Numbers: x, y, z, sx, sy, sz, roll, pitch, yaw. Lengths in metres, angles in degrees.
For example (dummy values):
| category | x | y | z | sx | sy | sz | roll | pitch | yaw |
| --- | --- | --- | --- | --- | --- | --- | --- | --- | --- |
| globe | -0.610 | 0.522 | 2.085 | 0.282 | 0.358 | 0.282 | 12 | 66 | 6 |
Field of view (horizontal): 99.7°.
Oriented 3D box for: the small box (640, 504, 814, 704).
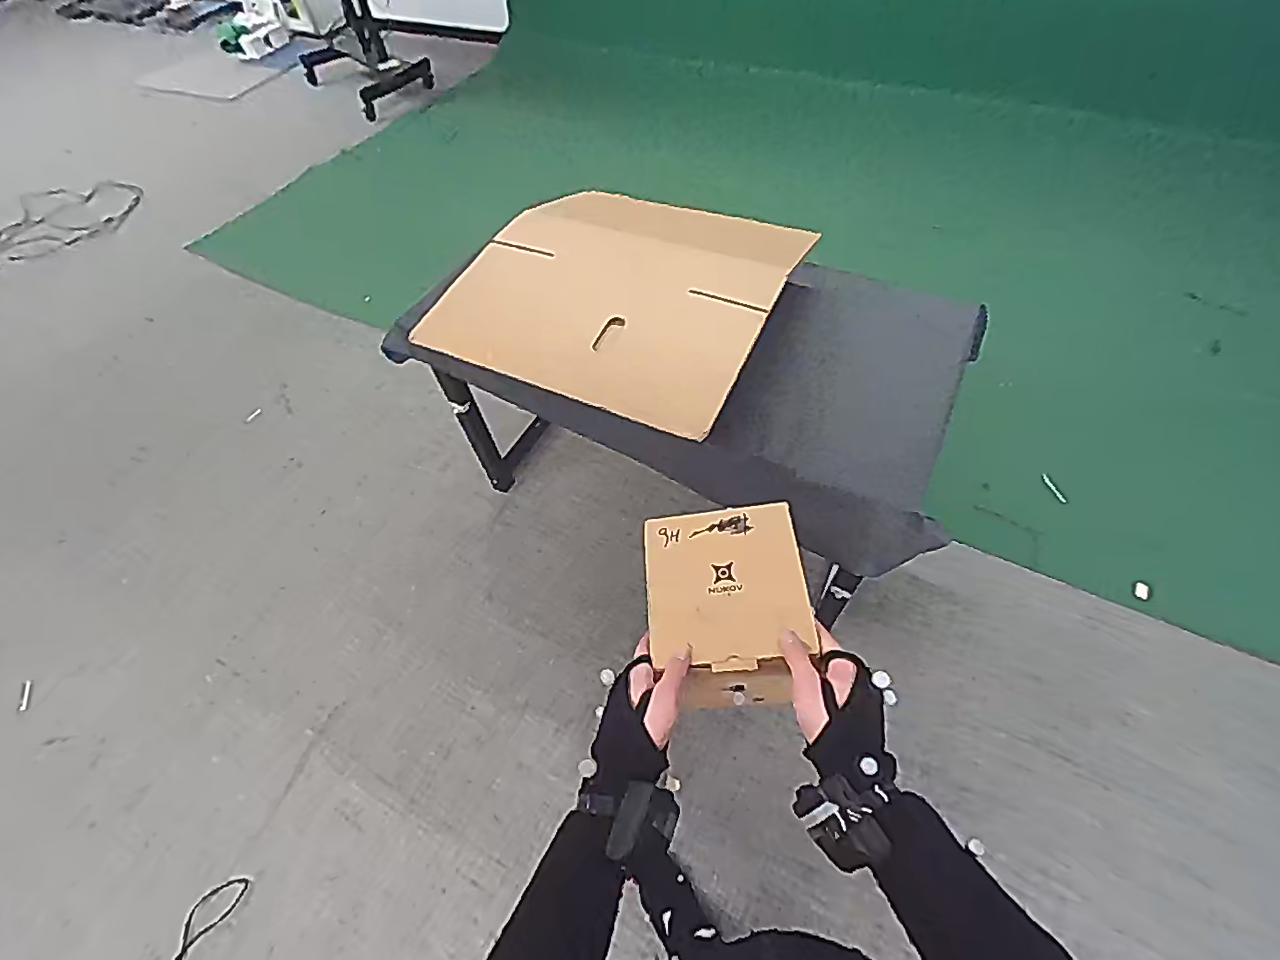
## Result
| category | x | y | z | sx | sy | sz | roll | pitch | yaw |
| --- | --- | --- | --- | --- | --- | --- | --- | --- | --- |
| small box | 0.102 | 0.155 | 0.639 | 0.168 | 0.176 | 0.179 | -10 | 53 | 7 |
